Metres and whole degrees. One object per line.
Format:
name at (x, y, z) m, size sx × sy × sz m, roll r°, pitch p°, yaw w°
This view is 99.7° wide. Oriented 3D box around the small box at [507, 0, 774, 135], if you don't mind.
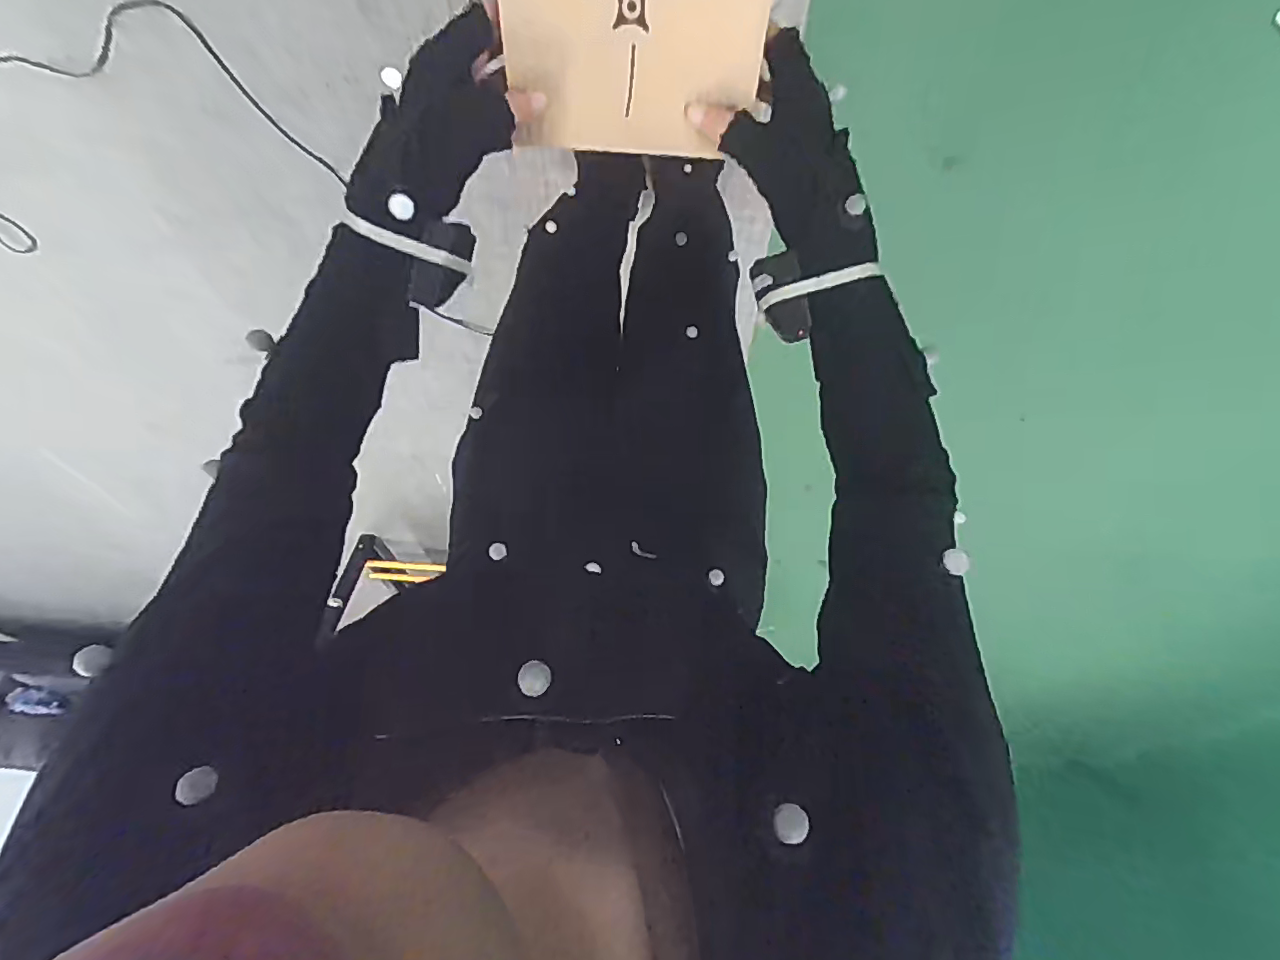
small box at (0.003, -0.364, 0.368) m, size 0.168 × 0.176 × 0.179 m, roll 4°, pitch 138°, yaw 0°
